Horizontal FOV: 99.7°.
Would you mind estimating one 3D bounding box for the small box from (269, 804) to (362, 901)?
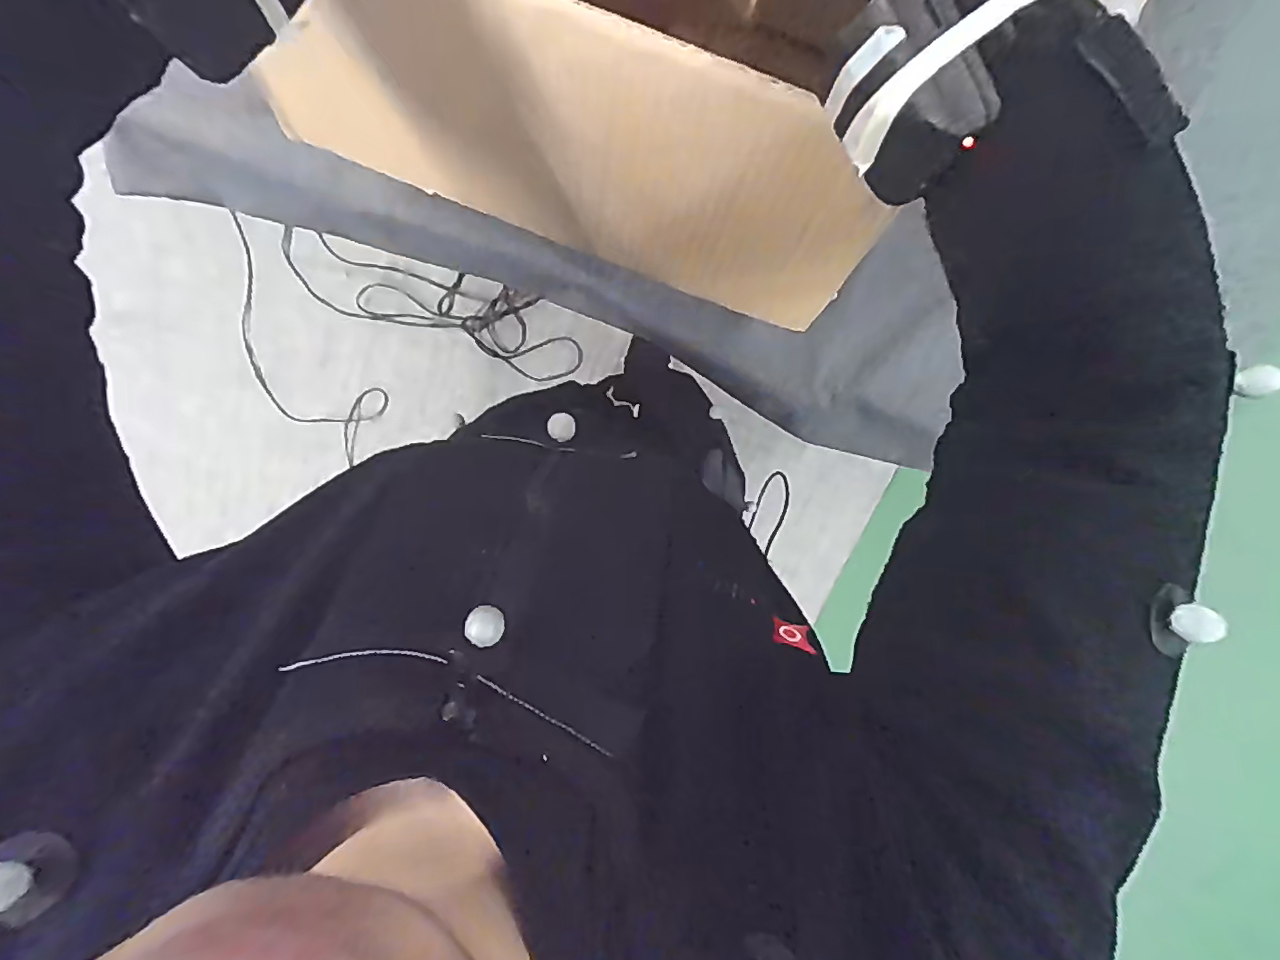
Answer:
[{"bbox_3d":[-1.019,1.166,1.706,0.179,0.176,0.168,21,106,-4],"label":"small box"}]
